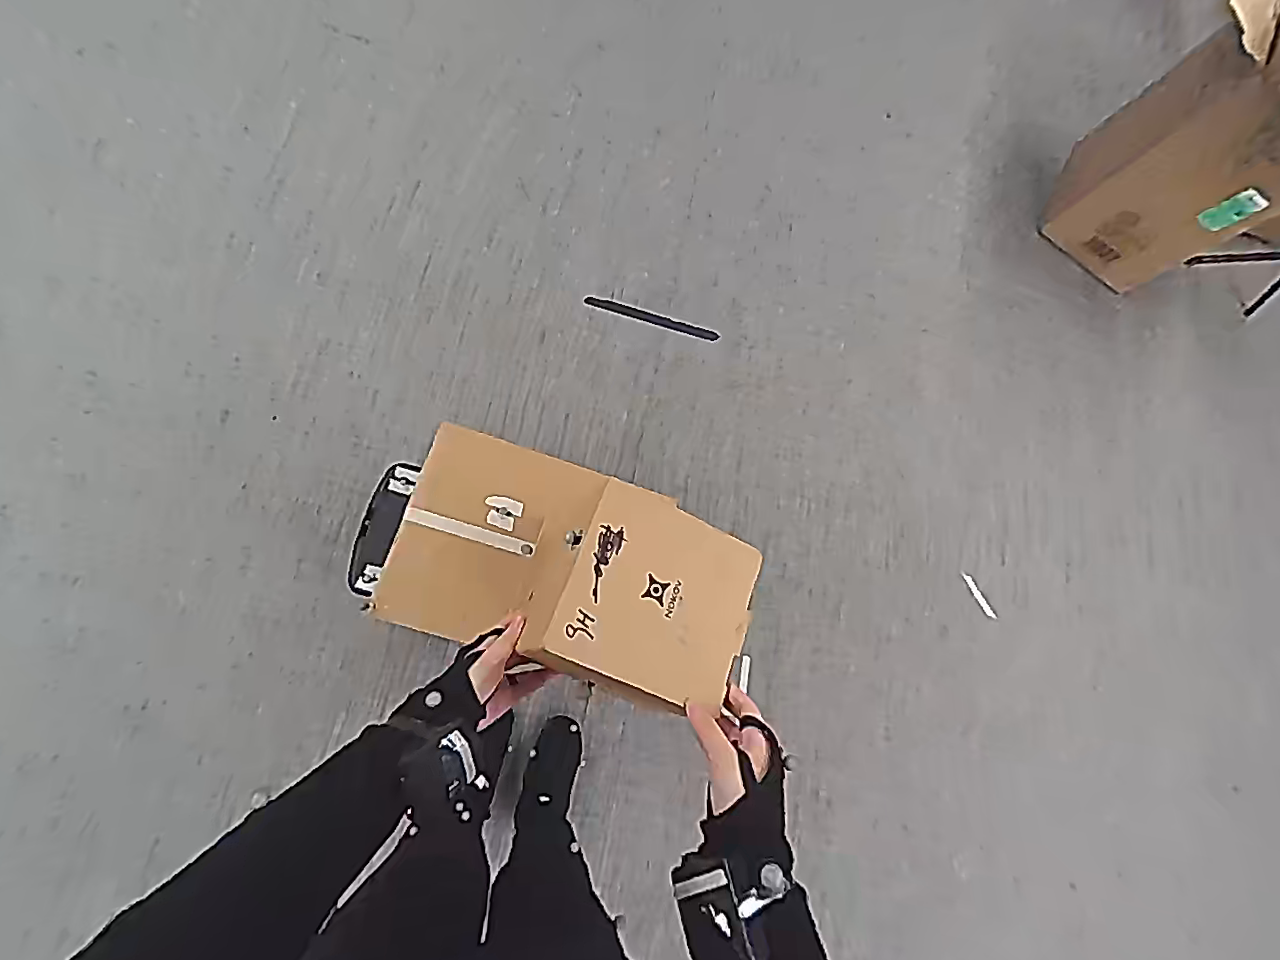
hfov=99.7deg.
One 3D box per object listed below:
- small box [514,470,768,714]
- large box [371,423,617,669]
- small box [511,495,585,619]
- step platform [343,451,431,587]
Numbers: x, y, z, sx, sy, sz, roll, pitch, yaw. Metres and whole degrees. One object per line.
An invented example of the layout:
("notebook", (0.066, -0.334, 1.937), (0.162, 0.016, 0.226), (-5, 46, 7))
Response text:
("small box", (-0.005, 0.118, 0.551), (0.179, 0.176, 0.168), (29, 63, -13))
("large box", (-0.189, 0.140, 0.979), (0.408, 0.320, 0.320), (19, 74, -8))
("small box", (-0.065, 0.136, 0.752), (0.179, 0.176, 0.168), (22, 75, -7))
("step platform", (-0.267, 0.183, 1.201), (0.684, 0.204, 0.286), (21, 75, -7))
